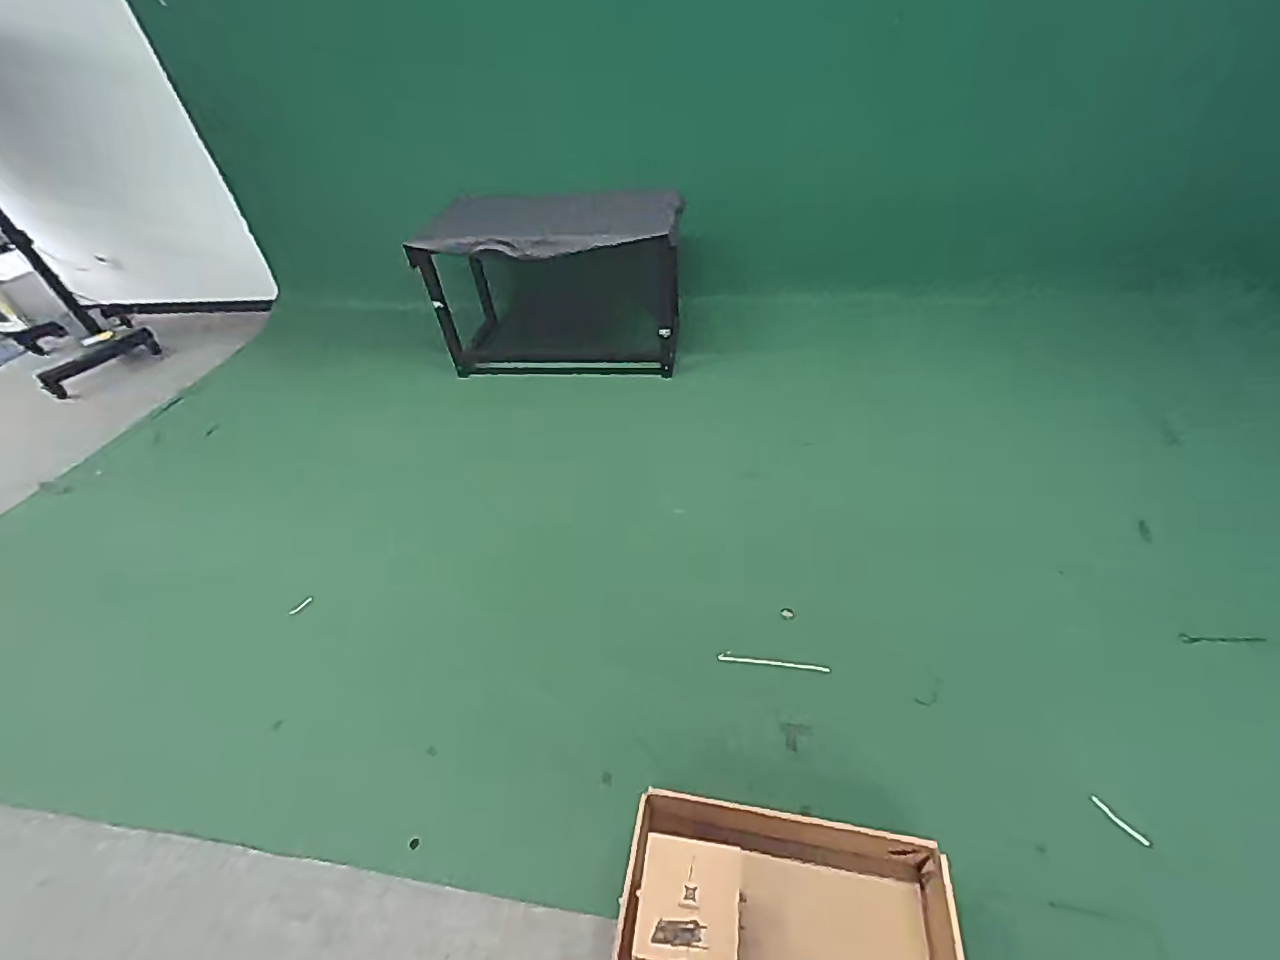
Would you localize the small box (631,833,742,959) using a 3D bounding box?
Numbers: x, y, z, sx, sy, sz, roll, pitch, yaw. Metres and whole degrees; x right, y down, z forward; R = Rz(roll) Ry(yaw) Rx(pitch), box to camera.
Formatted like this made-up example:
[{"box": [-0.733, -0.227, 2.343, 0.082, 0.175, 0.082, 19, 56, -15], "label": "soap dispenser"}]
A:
[{"box": [0.087, 0.750, 0.938, 0.168, 0.176, 0.179, 4, 43, 10], "label": "small box"}]
